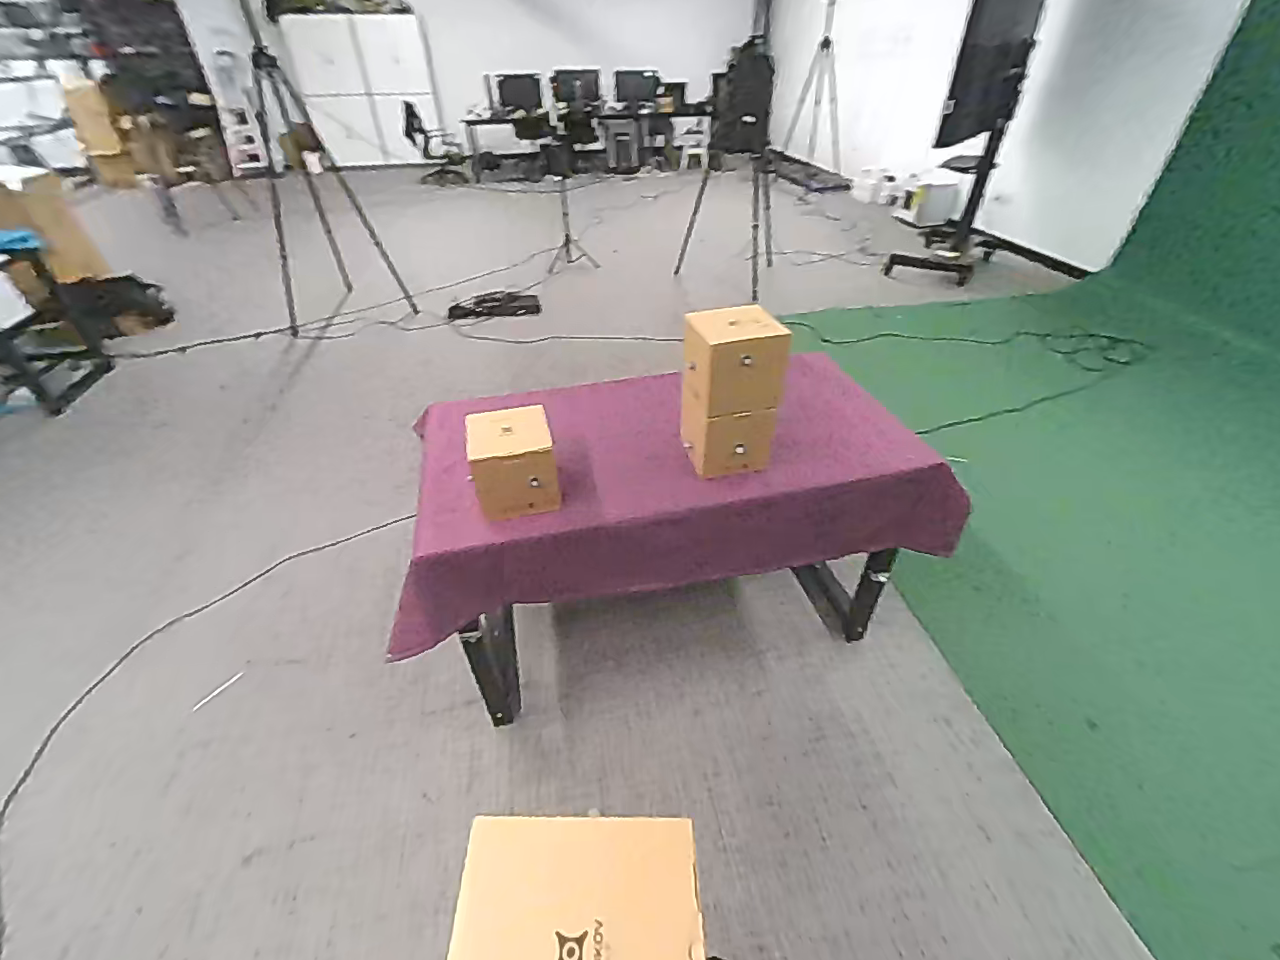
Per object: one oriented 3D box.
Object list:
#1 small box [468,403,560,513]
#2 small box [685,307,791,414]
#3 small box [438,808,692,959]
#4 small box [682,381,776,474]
[{"bbox_3d":[-0.271,-0.043,1.170,0.168,0.176,0.179,-9,39,-12],"label":"small box"},{"bbox_3d":[0.202,-0.256,1.165,0.179,0.176,0.168,-9,40,-11],"label":"small box"},{"bbox_3d":[-0.057,0.380,0.429,0.179,0.176,0.168,3,42,-5],"label":"small box"},{"bbox_3d":[0.200,-0.128,1.271,0.168,0.176,0.179,-9,40,-10],"label":"small box"}]
